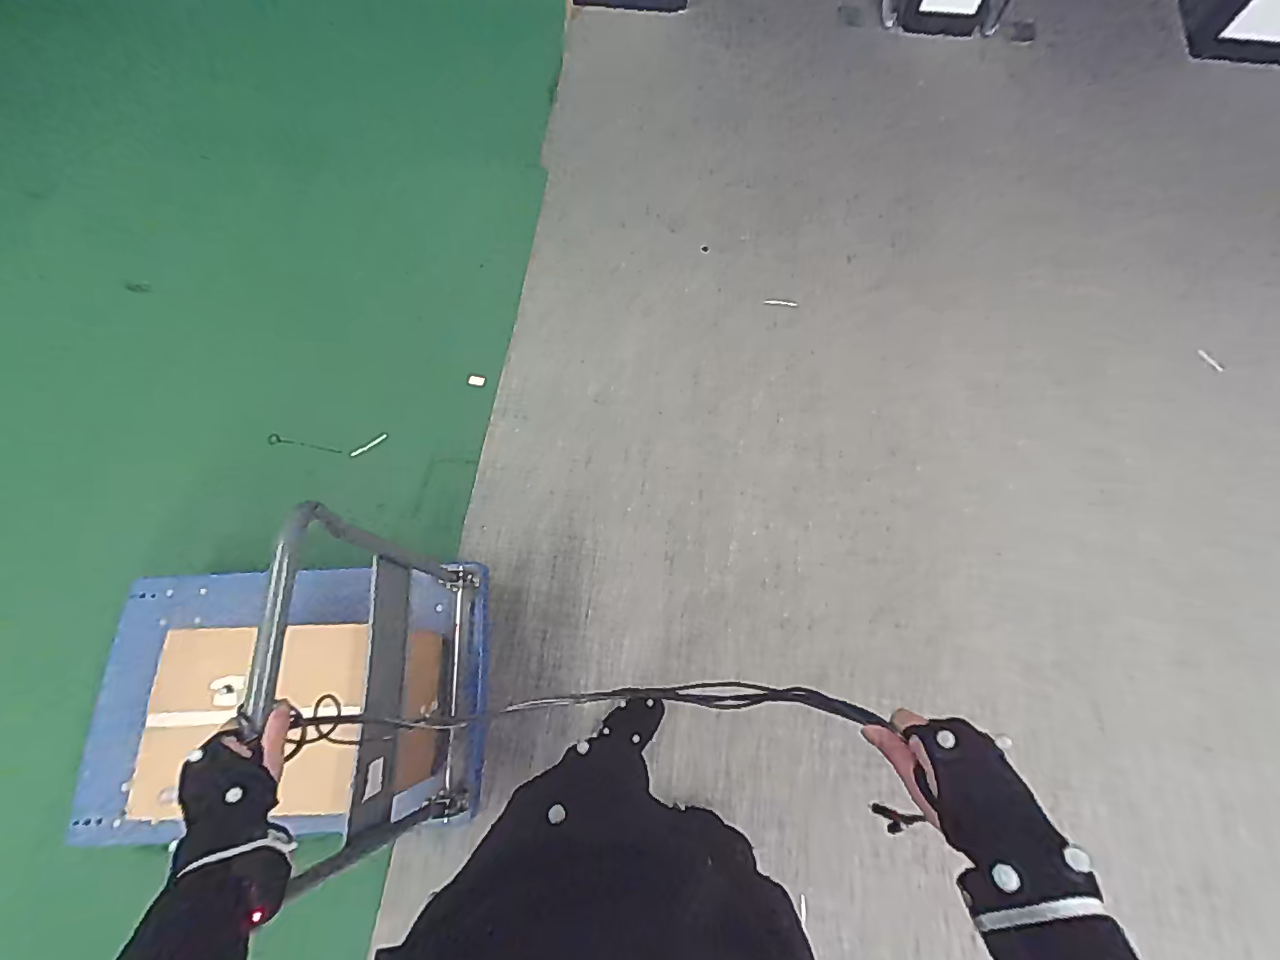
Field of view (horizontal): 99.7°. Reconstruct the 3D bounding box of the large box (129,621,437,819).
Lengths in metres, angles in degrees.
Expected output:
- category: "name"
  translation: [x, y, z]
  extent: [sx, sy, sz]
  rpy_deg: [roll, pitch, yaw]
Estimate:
- category: "large box"
  translation: [-0.668, 0.463, 1.099]
  extent: [0.408, 0.320, 0.320]
  rpy_deg: [-2, 71, 0]
